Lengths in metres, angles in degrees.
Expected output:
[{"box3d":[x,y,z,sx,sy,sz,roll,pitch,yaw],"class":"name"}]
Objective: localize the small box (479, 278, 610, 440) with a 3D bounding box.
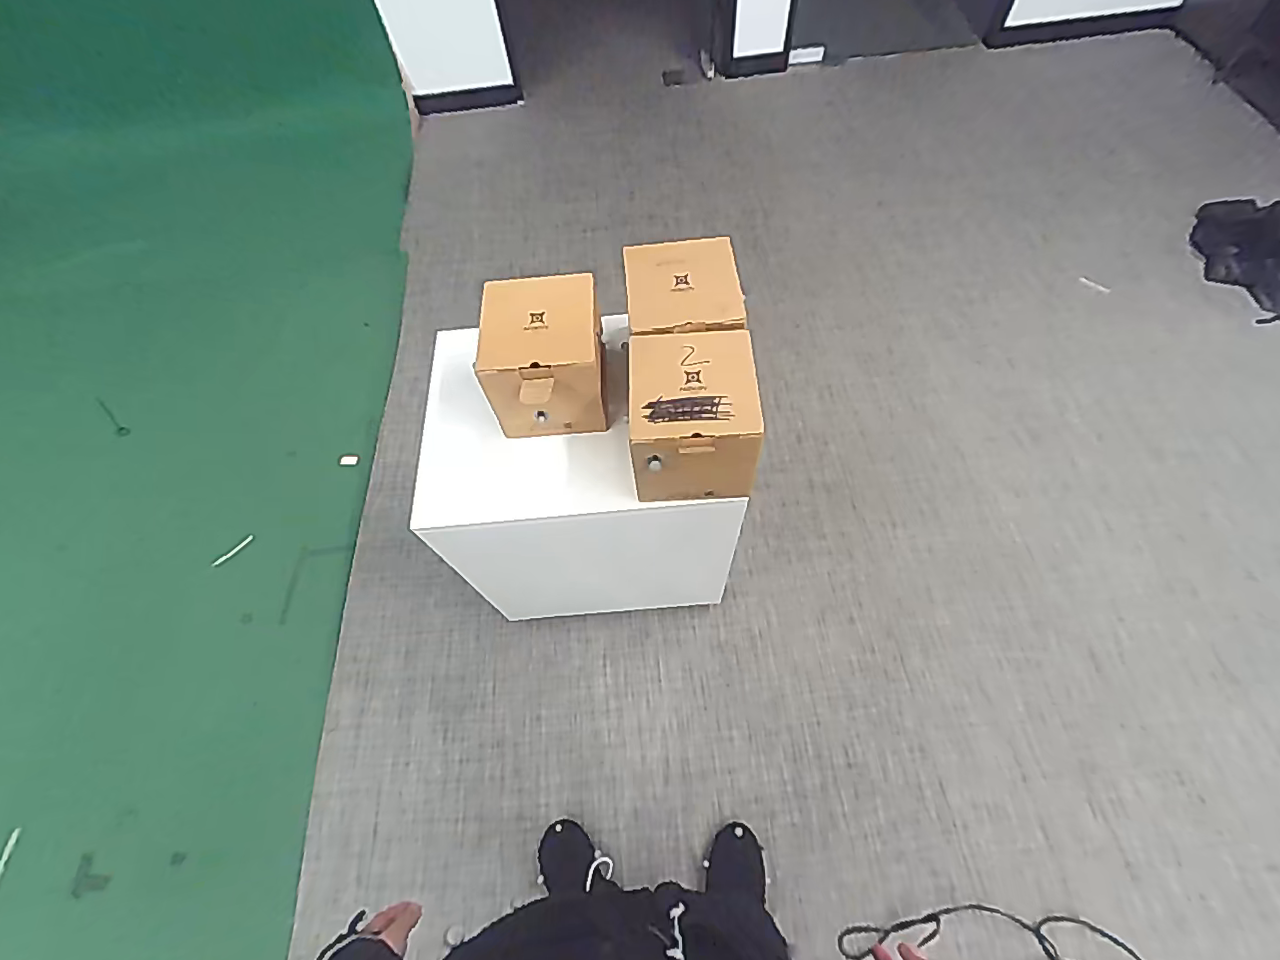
[{"box3d":[-0.137,-0.183,0.839,0.168,0.176,0.179,-5,61,1],"class":"small box"}]
